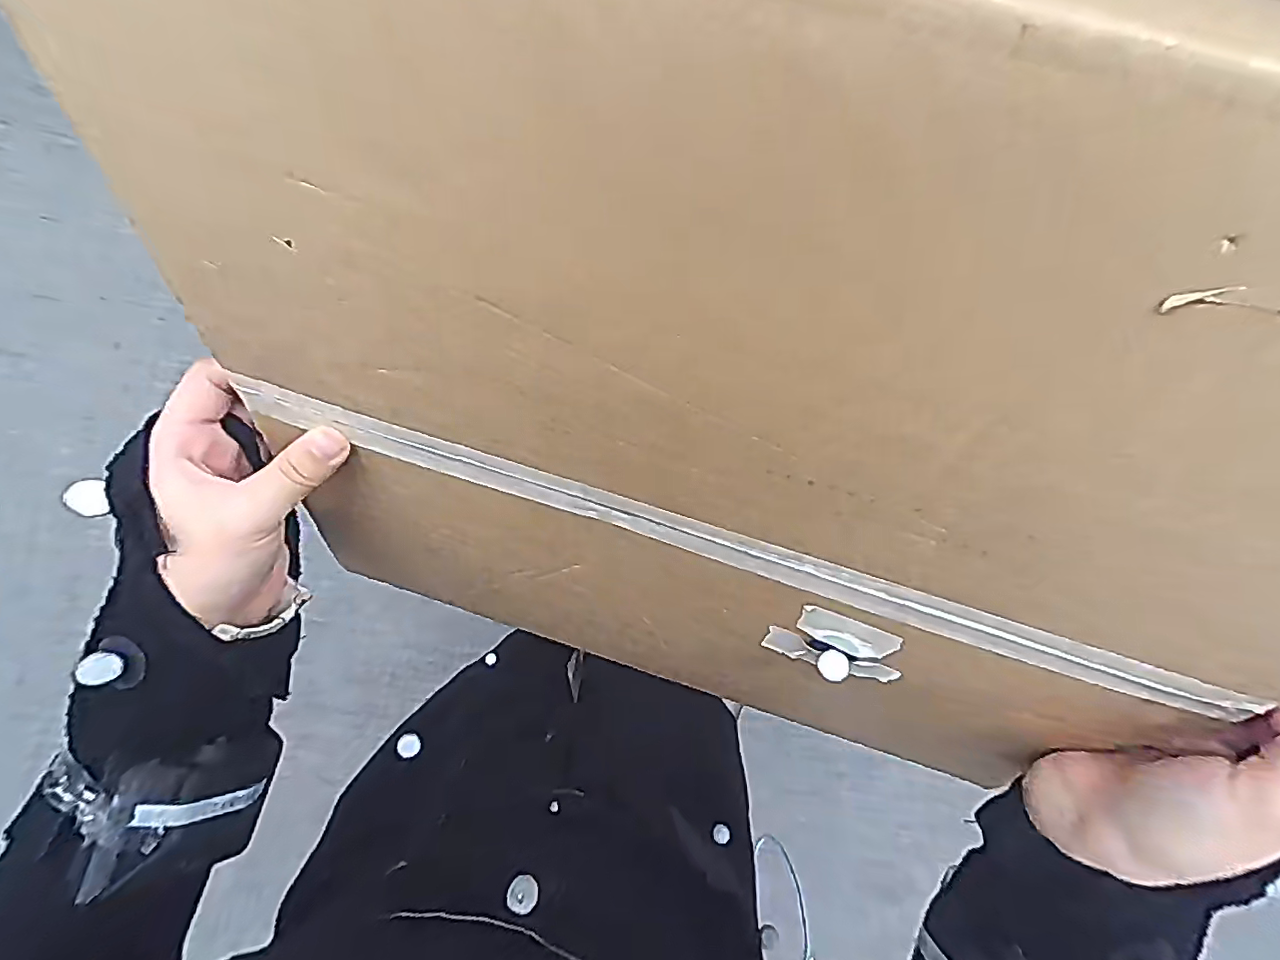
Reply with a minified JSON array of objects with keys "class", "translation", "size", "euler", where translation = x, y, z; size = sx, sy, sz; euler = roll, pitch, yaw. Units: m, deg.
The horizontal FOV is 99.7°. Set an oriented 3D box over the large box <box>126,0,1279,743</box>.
[{"class":"large box","translation":[0.084,-0.114,0.291],"size":[0.408,0.320,0.320],"euler":[17,51,4]}]
